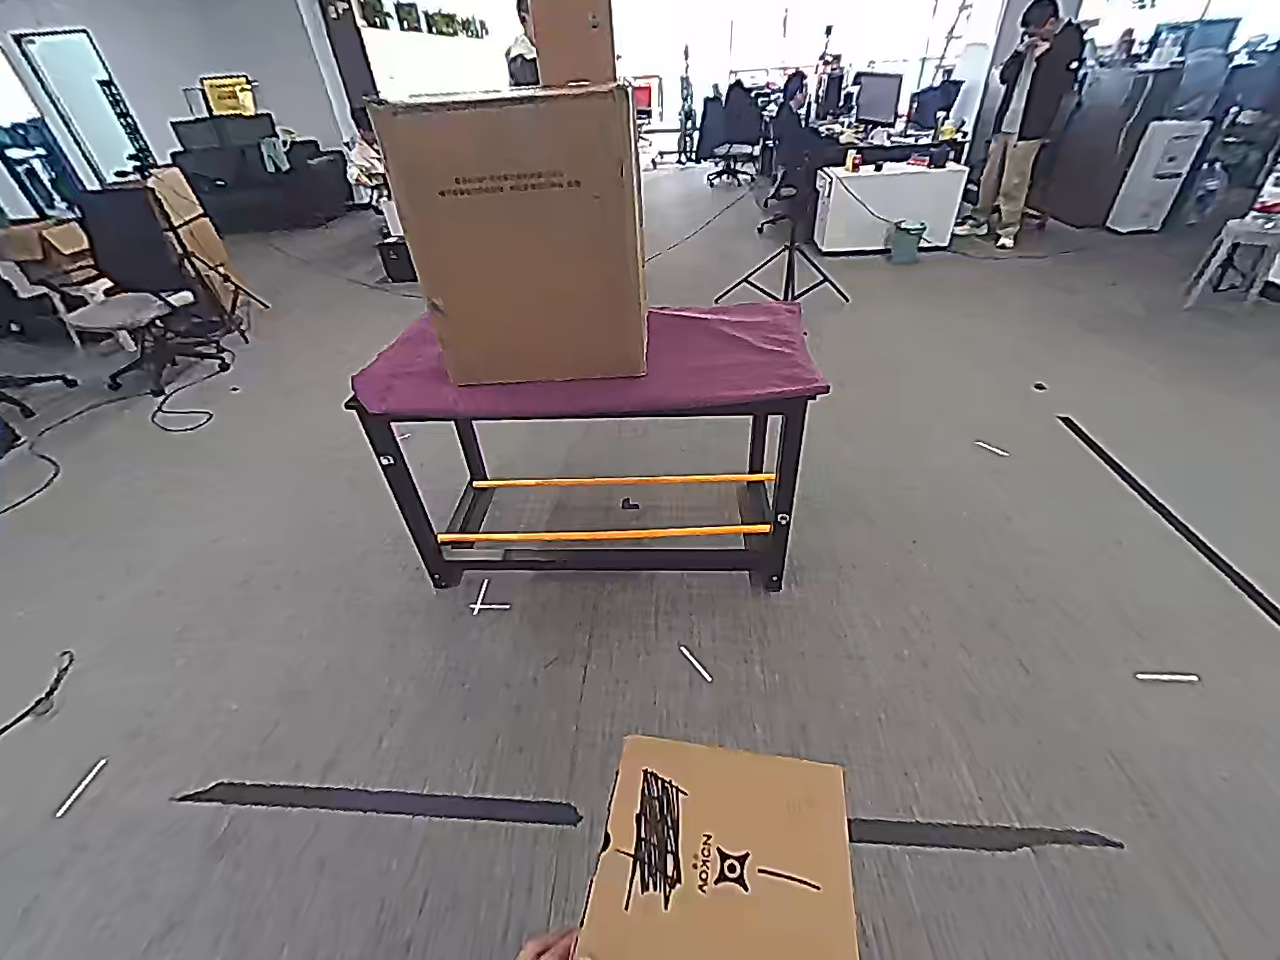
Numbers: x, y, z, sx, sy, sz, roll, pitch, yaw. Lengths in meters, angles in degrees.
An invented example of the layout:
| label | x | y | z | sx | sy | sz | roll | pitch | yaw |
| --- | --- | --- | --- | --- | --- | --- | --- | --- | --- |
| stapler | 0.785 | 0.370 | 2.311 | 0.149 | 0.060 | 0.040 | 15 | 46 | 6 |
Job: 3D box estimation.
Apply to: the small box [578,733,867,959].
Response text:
| label | x | y | z | sx | sy | sz | roll | pitch | yaw |
| --- | --- | --- | --- | --- | --- | --- | --- | --- | --- |
| small box | 0.068 | 0.329 | 0.419 | 0.179 | 0.176 | 0.168 | 2 | 36 | 12 |
